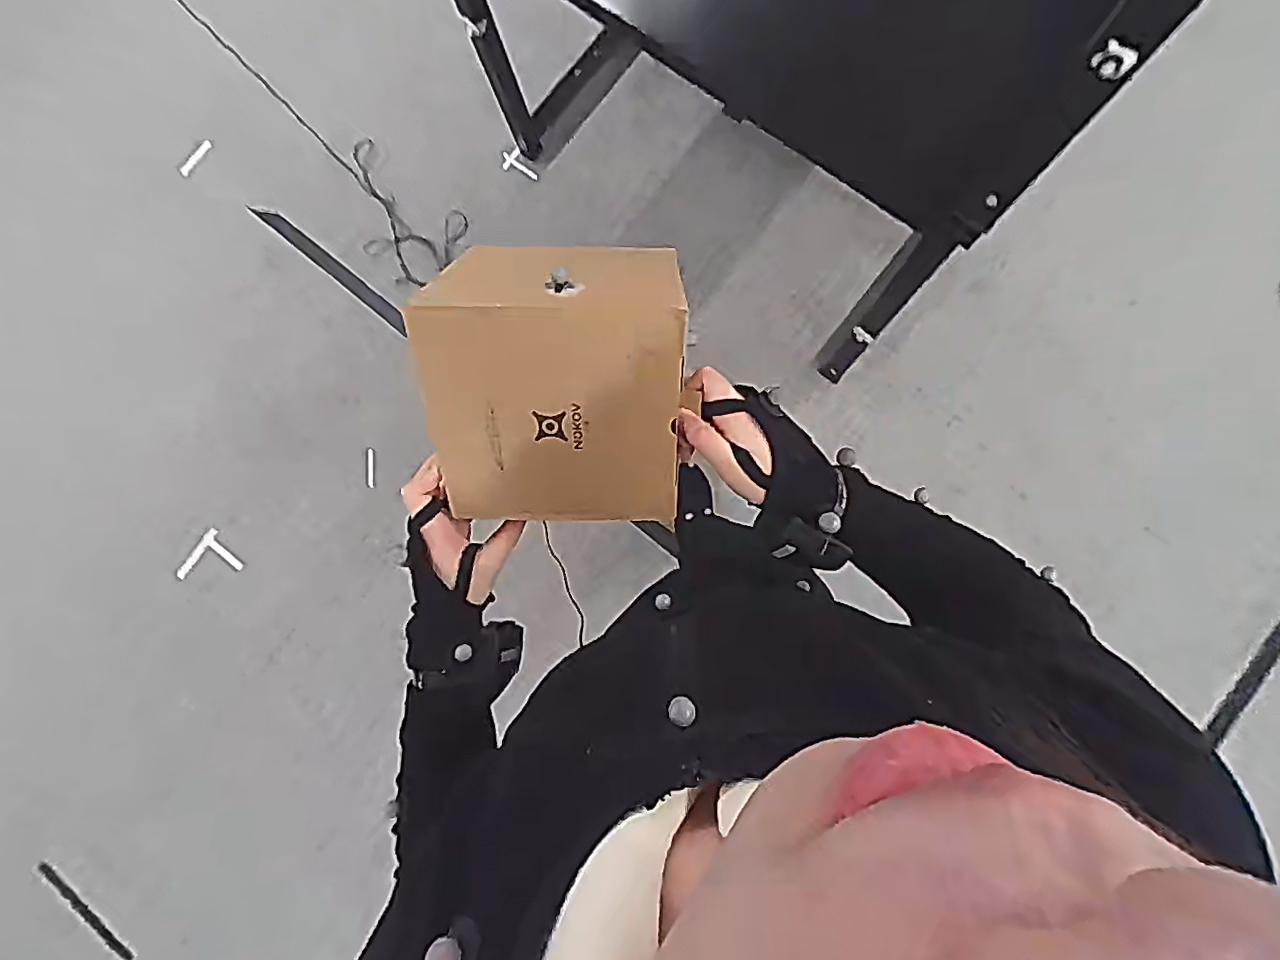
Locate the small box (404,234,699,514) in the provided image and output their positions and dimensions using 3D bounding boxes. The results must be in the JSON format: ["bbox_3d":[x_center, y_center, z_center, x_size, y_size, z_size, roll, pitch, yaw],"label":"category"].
[{"bbox_3d":[-0.055,-0.089,0.425,0.179,0.176,0.168,1,125,-1],"label":"small box"}]
